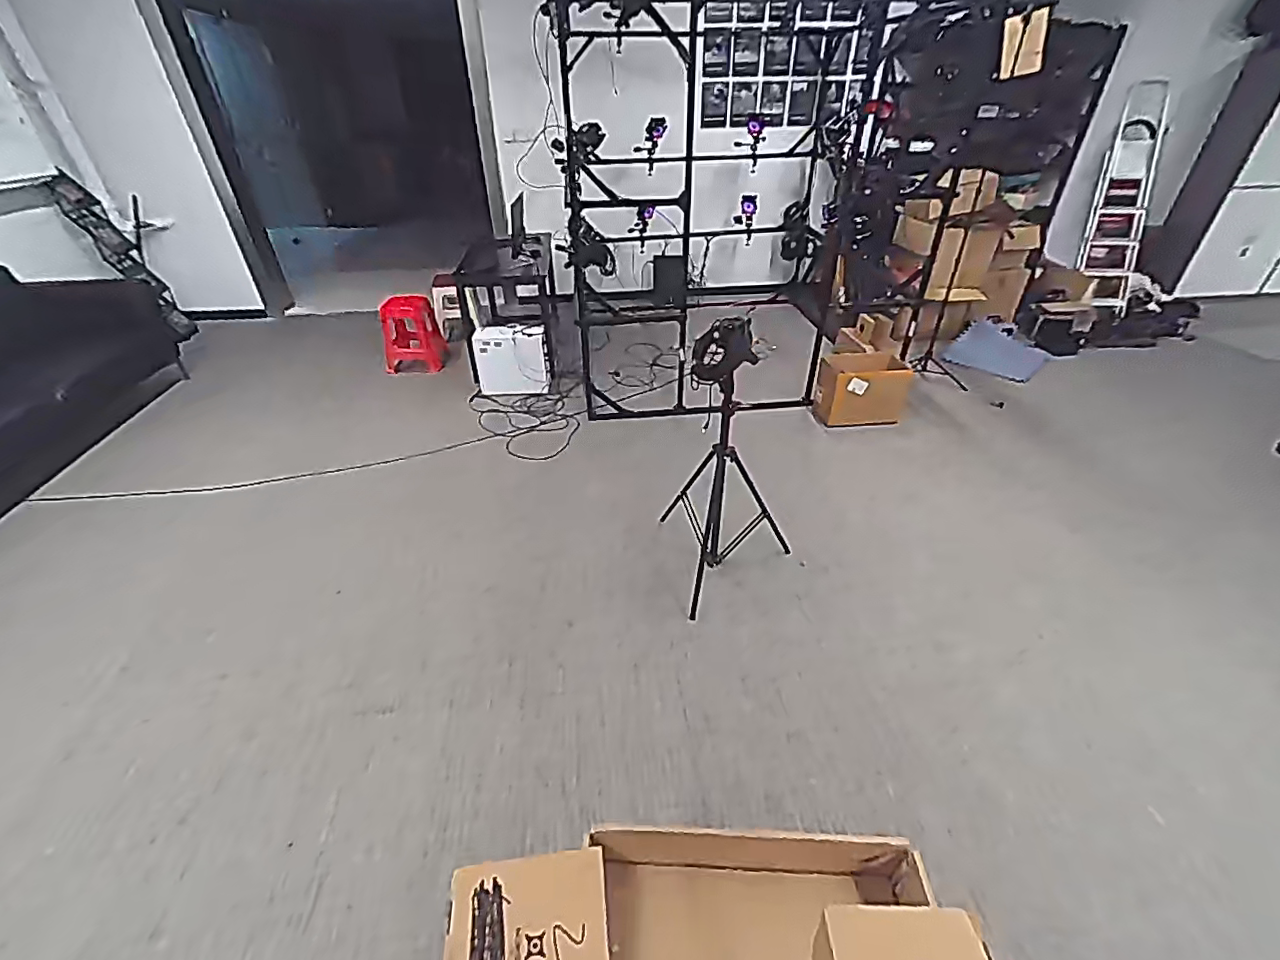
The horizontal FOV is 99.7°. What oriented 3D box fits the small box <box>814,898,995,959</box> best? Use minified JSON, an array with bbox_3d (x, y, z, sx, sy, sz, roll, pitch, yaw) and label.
[{"bbox_3d":[0.306,0.613,0.616,0.179,0.176,0.168,-1,31,4],"label":"small box"}]
